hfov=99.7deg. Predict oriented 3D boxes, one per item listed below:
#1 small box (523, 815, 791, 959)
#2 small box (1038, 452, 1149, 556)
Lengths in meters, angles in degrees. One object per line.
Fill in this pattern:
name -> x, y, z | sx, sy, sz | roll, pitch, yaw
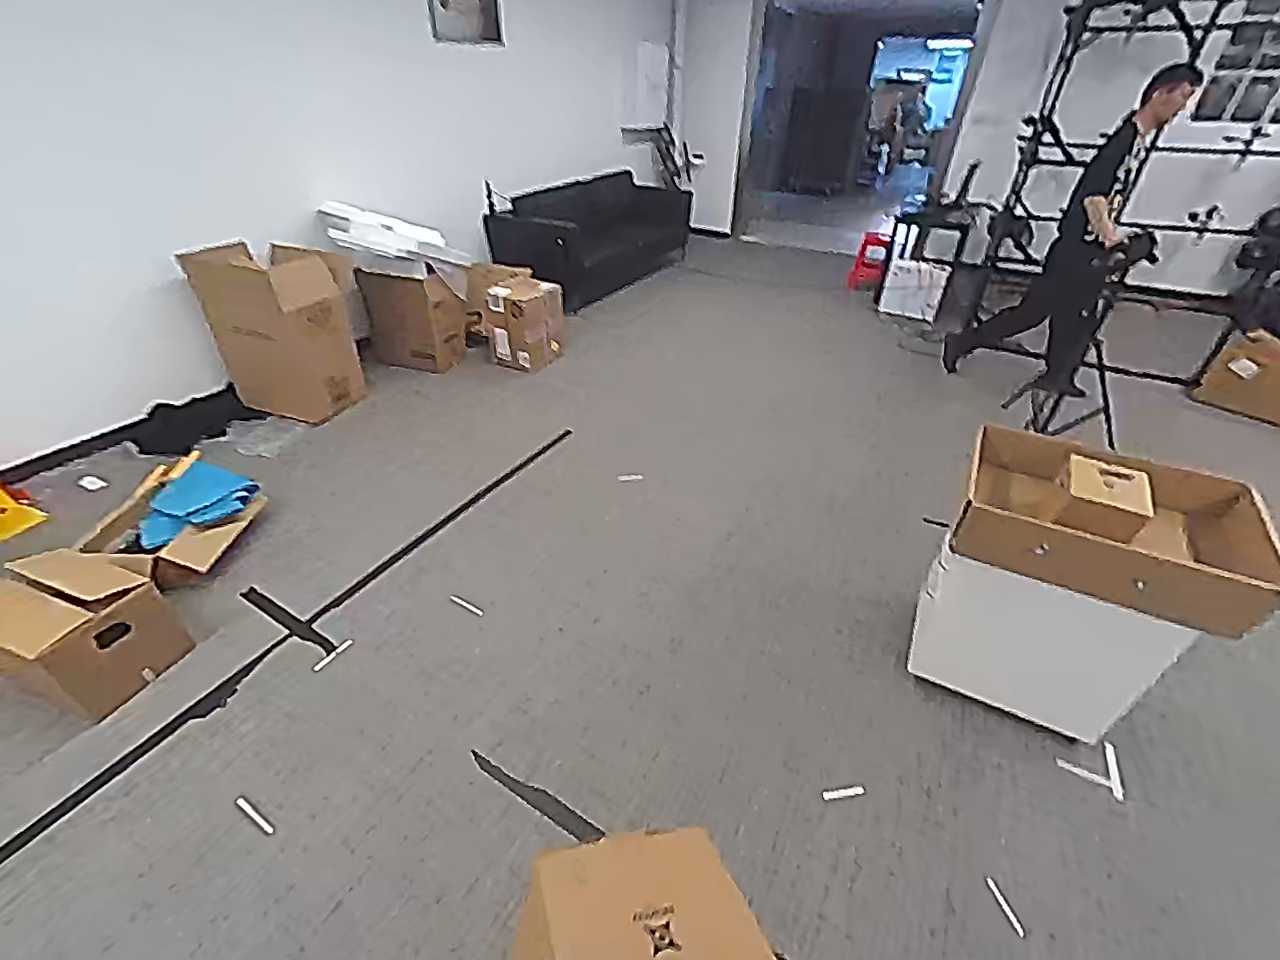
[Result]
small box -> 0.004, 0.411, 0.429 | 0.168, 0.176, 0.179 | 8, 13, -22
small box -> 1.149, 0.060, 1.383 | 0.168, 0.176, 0.179 | 20, 46, 24
